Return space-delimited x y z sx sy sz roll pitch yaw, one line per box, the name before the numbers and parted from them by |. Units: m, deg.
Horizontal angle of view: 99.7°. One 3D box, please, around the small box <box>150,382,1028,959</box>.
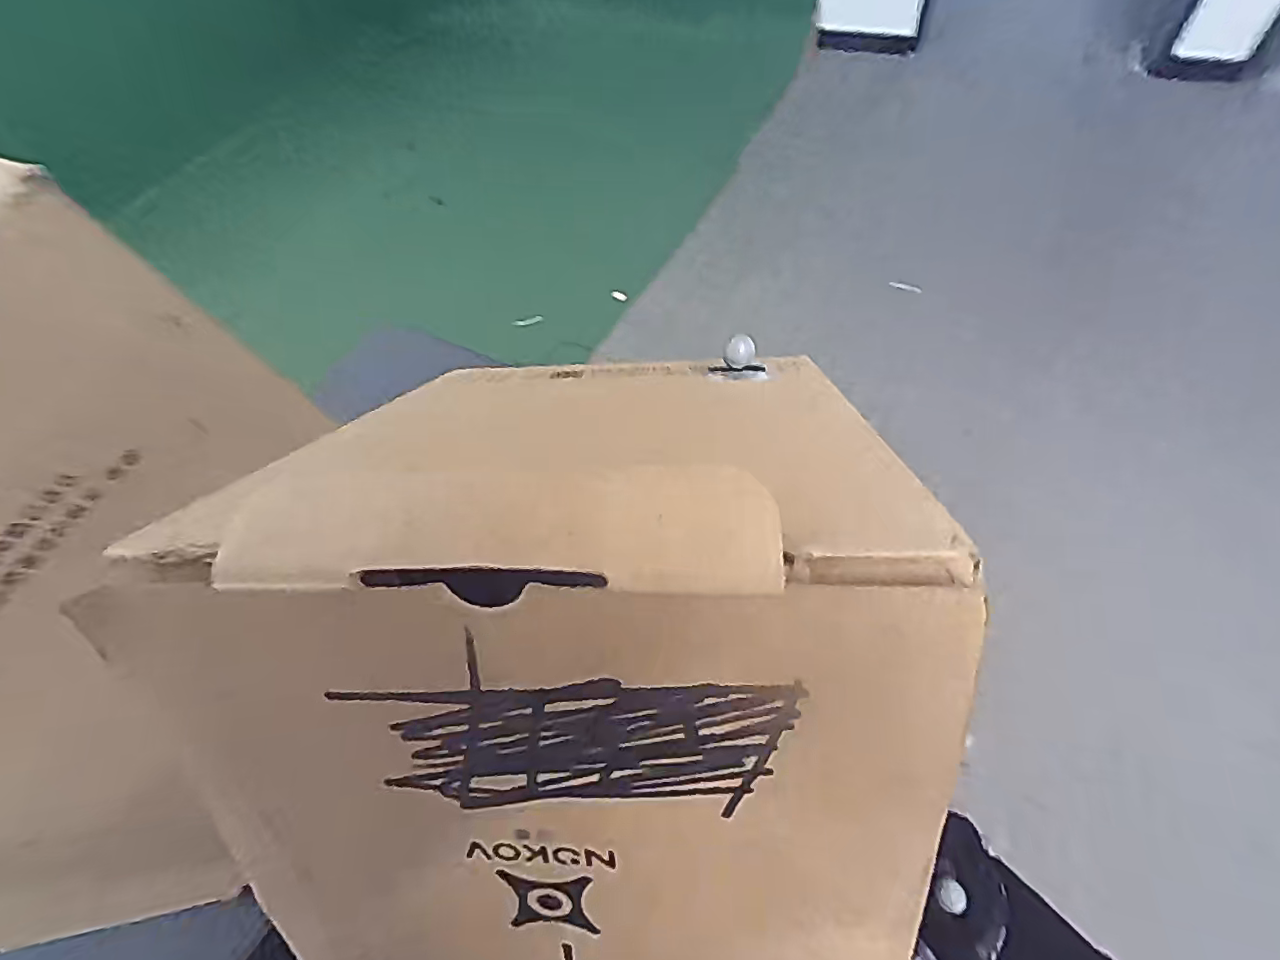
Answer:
small box | -0.003 0.064 0.202 0.168 0.179 0.176 -1 24 8
